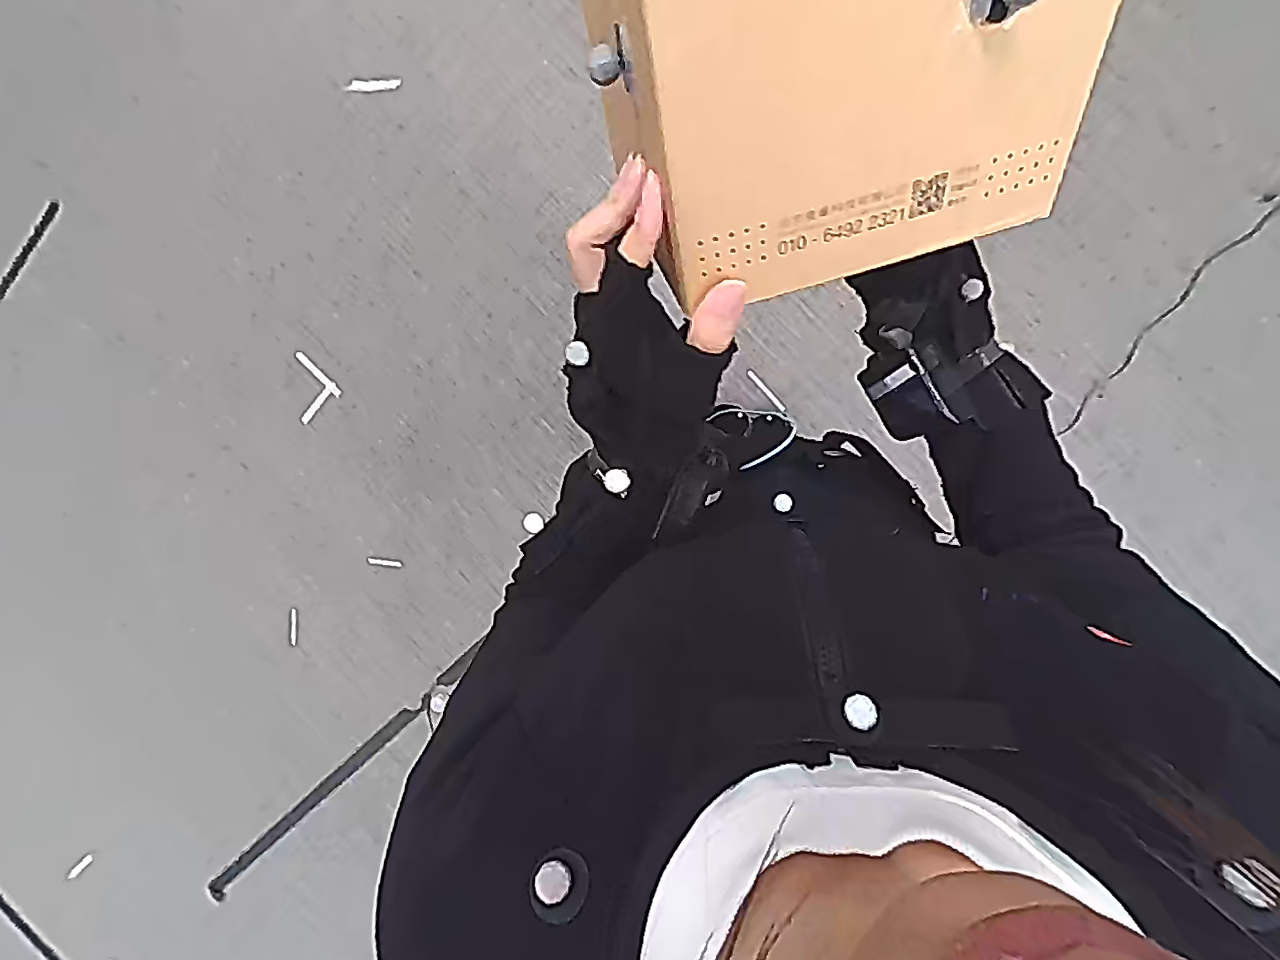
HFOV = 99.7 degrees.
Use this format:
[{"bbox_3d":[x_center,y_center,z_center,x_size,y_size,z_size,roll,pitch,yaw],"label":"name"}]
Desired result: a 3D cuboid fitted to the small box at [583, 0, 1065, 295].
[{"bbox_3d":[0.070,-0.209,0.260,0.168,0.179,0.176,-16,135,-1],"label":"small box"}]
